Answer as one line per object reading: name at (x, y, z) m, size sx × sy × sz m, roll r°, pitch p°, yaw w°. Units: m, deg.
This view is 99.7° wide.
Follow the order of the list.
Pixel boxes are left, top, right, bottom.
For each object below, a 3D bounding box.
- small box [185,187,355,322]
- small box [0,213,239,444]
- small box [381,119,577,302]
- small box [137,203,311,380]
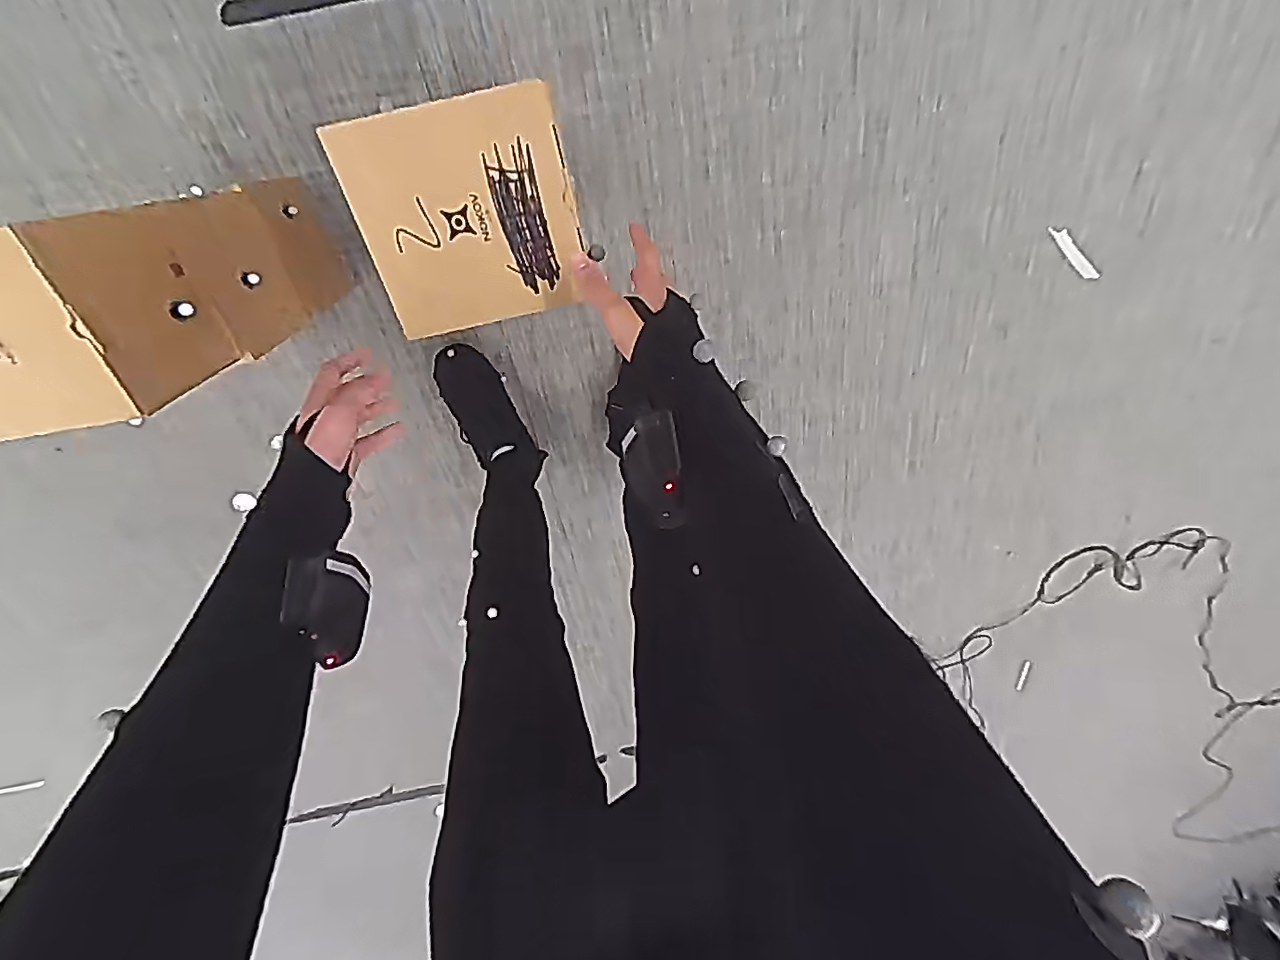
small box at (-0.566, -0.321, 0.803) m, size 0.168 × 0.176 × 0.179 m, roll -16°, pitch 122°, yaw 3°
small box at (-0.552, -0.152, 0.525) m, size 0.179 × 0.176 × 0.168 m, roll -10°, pitch 122°, yaw 0°
small box at (-0.178, -0.328, 0.653) m, size 0.179 × 0.176 × 0.168 m, roll -10°, pitch 122°, yaw -3°
small box at (-0.556, -0.230, 0.668) m, size 0.168 × 0.176 × 0.179 m, roll -14°, pitch 123°, yaw 3°
